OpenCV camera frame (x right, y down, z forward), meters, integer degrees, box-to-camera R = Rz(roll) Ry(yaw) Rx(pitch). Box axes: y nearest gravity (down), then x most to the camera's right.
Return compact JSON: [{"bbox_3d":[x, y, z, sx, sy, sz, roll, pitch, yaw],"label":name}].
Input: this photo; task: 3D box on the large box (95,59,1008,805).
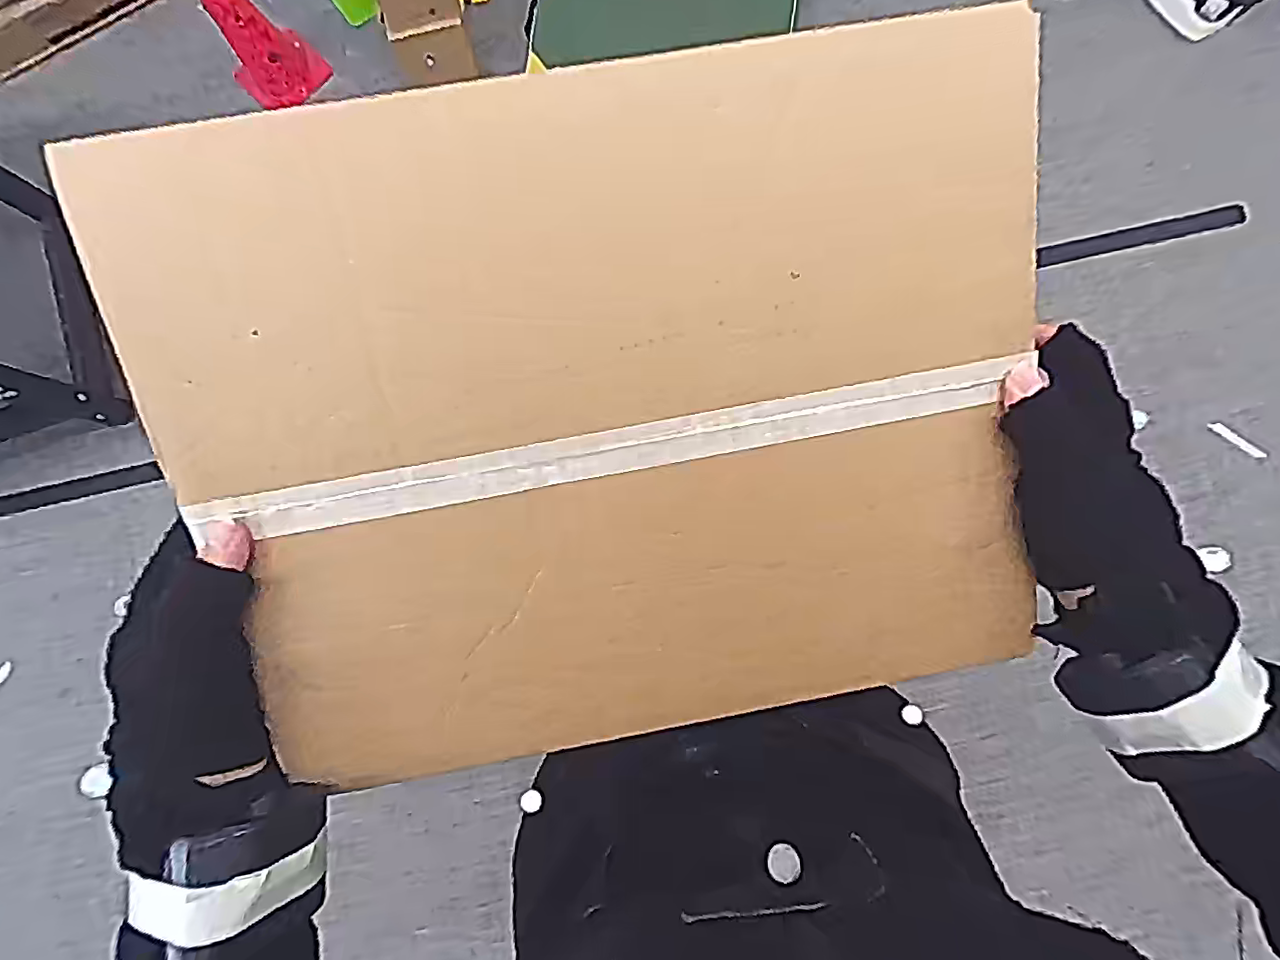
[{"bbox_3d":[-0.020,-0.039,0.412,0.408,0.320,0.320,-11,103,-3],"label":"large box"}]
